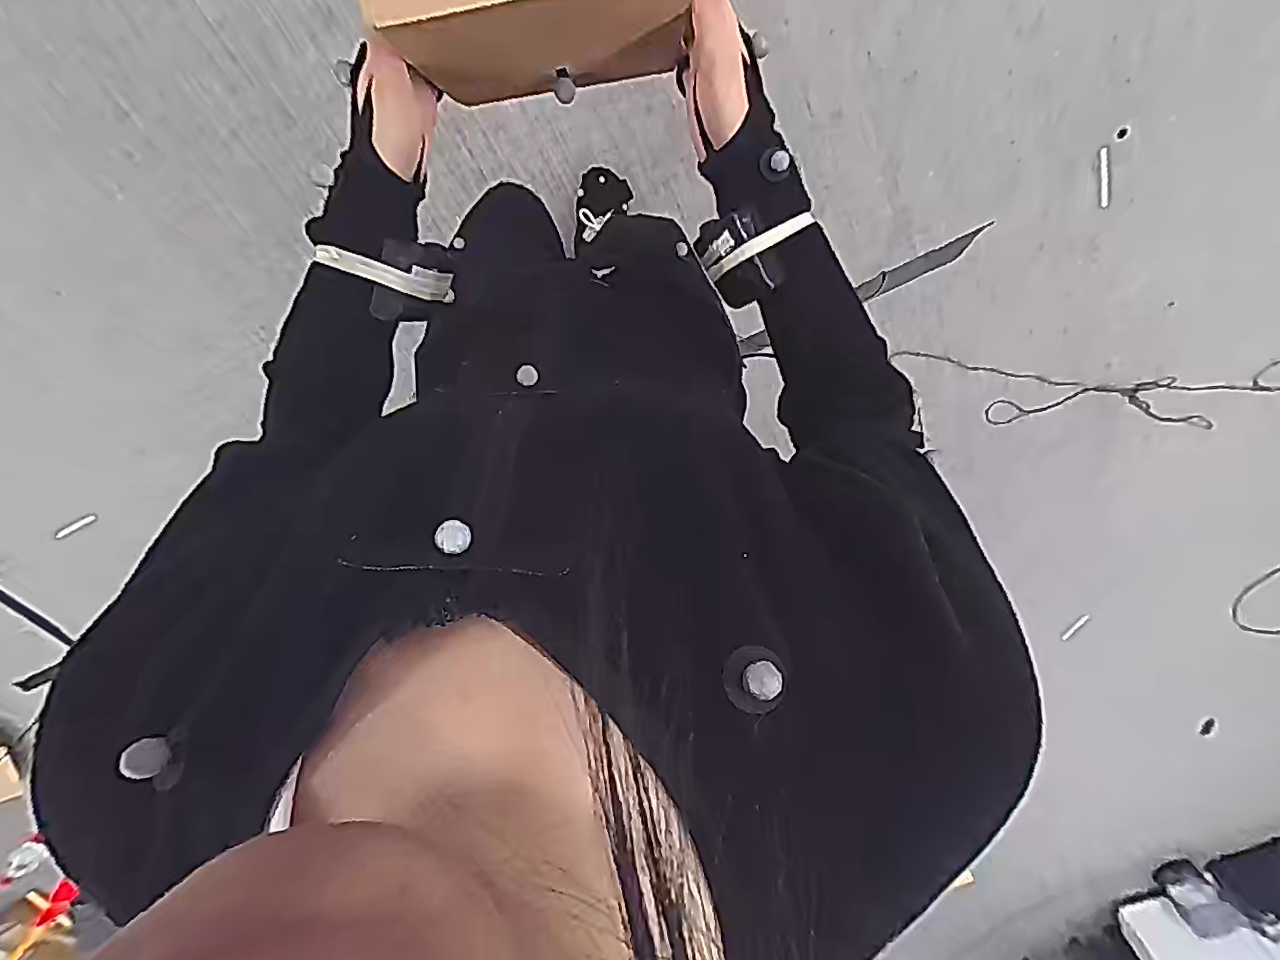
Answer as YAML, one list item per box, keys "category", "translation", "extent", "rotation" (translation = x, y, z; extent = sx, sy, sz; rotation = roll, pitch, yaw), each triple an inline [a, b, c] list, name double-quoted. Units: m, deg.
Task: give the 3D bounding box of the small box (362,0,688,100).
- category: "small box"
  translation: [-0.069, -0.354, 0.323]
  extent: [0.179, 0.176, 0.168]
  rotation: [-7, 112, 1]
